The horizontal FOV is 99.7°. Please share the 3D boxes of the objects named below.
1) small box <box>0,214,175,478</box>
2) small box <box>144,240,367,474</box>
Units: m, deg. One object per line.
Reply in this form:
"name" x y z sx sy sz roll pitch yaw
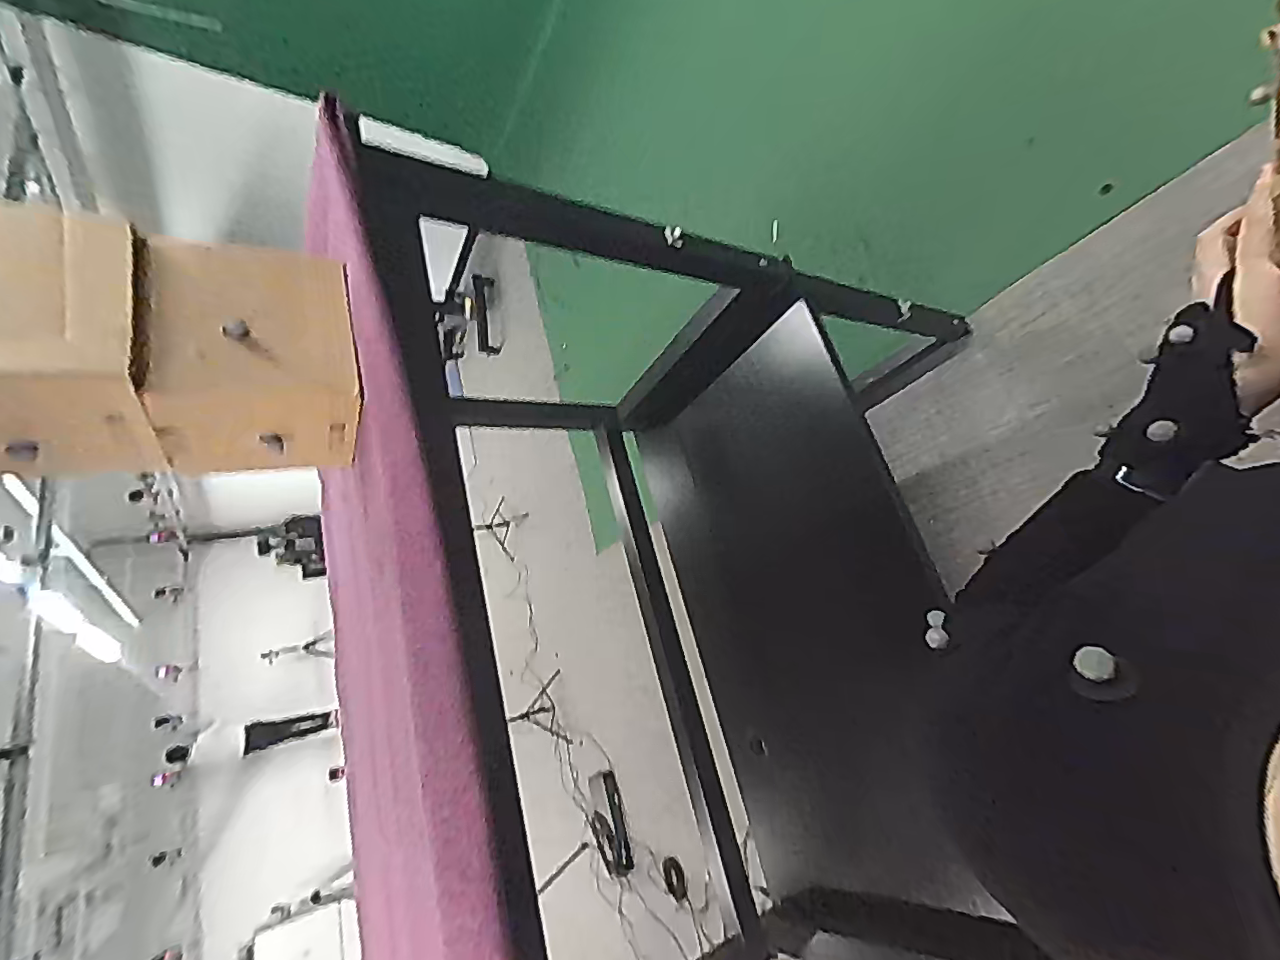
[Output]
"small box" -0.529 -0.116 0.481 0.168 0.176 0.179 -41 61 51
"small box" -0.399 -0.123 0.580 0.168 0.176 0.179 -40 62 51
